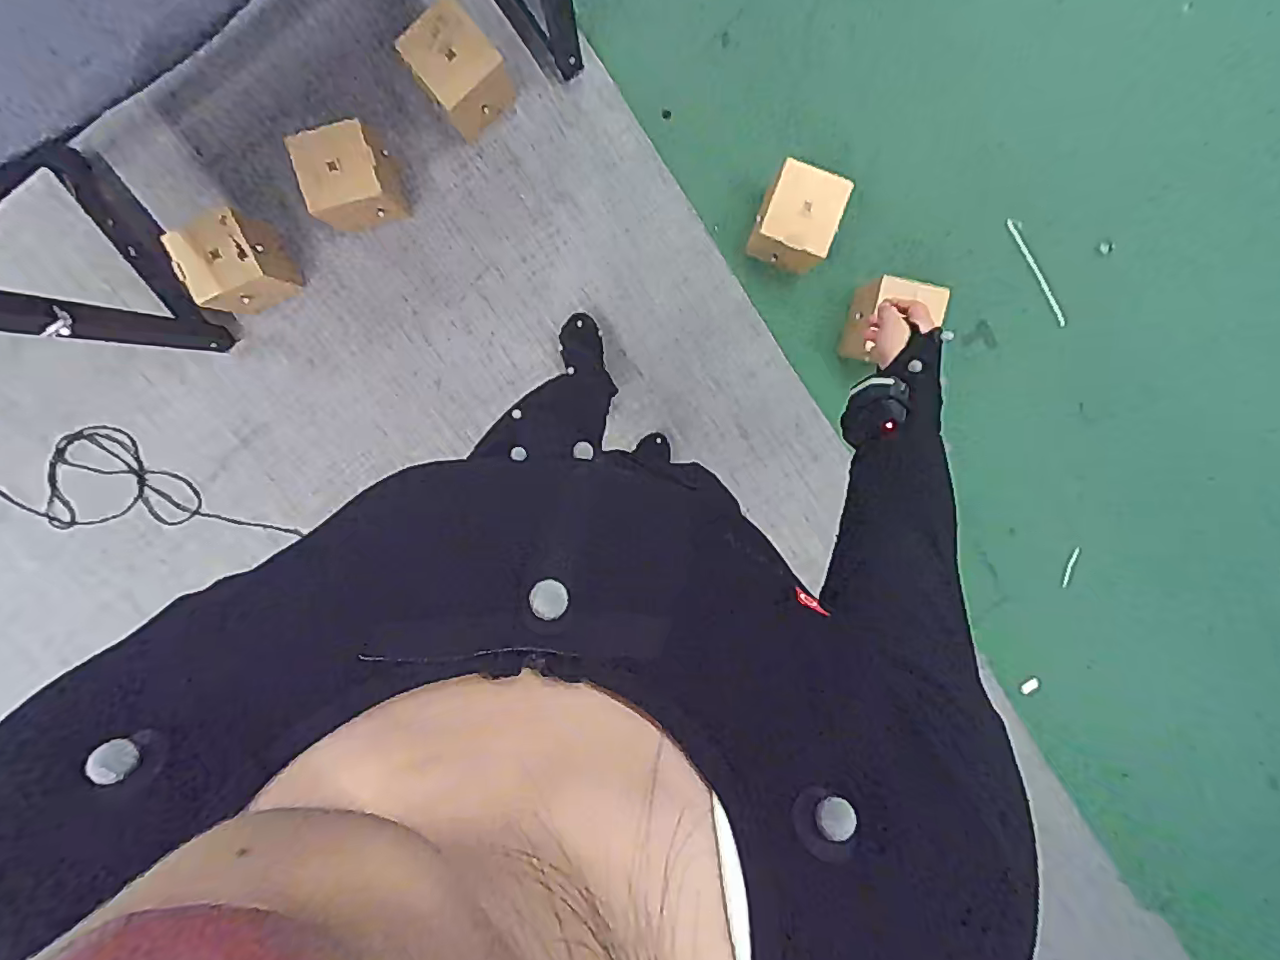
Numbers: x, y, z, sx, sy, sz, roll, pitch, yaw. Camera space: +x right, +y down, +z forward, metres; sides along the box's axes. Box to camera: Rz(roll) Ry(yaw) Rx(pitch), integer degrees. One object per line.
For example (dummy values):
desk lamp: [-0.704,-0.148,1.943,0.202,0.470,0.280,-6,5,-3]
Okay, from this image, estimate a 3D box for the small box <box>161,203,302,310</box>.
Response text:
small box: [-0.969,-0.524,1.299,0.179,0.176,0.168,-23,99,4]

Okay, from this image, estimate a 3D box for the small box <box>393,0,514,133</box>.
small box: [-0.414,-0.938,1.236,0.168,0.176,0.179,-40,98,5]

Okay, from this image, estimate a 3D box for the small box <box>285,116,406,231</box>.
small box: [-0.678,-0.711,1.272,0.179,0.176,0.168,-15,99,3]

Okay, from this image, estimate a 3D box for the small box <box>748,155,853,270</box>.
small box: [0.377,-0.634,1.303,0.168,0.176,0.179,19,99,-4]
